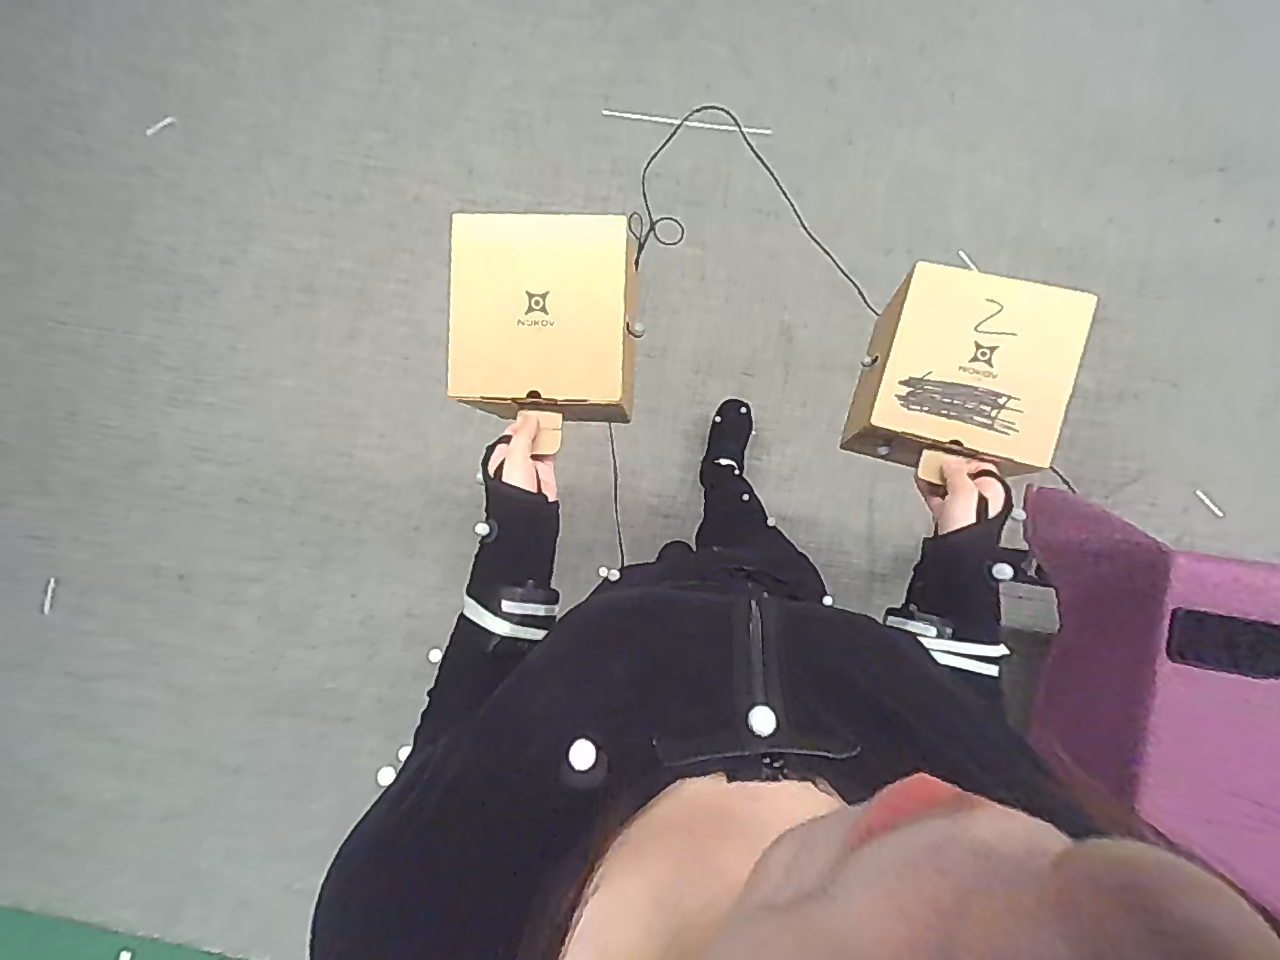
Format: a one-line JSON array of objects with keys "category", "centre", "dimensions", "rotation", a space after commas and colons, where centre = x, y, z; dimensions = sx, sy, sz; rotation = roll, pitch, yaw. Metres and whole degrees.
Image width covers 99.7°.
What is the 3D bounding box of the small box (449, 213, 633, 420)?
[{"category": "small box", "centre": [-0.095, -0.165, 0.592], "dimensions": [0.168, 0.176, 0.179], "rotation": [2, 91, 2]}]
